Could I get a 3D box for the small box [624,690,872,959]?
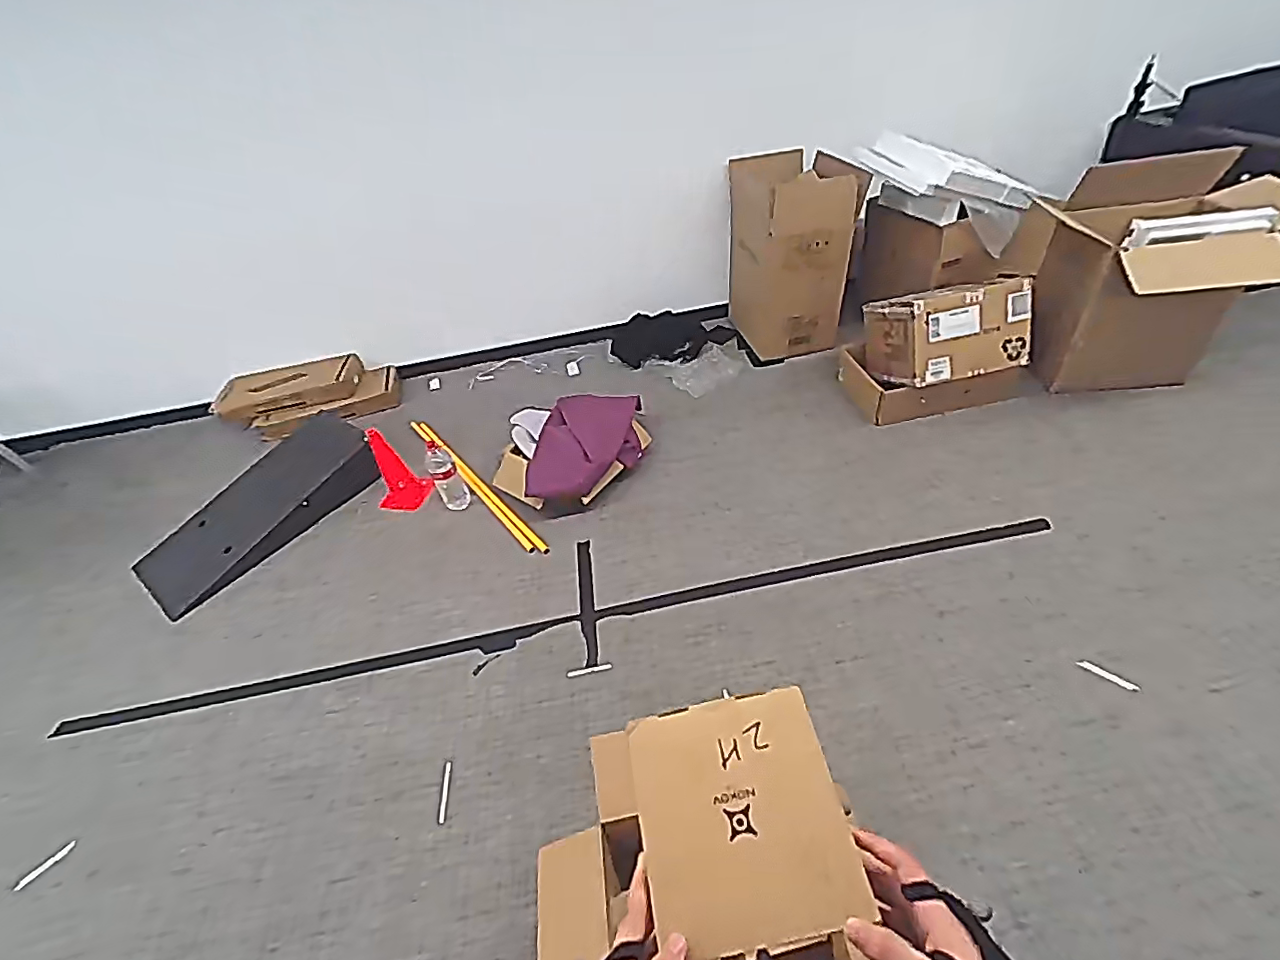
[{"bbox_3d":[0.089,0.323,0.503,0.168,0.176,0.179,-12,50,0],"label":"small box"}]
